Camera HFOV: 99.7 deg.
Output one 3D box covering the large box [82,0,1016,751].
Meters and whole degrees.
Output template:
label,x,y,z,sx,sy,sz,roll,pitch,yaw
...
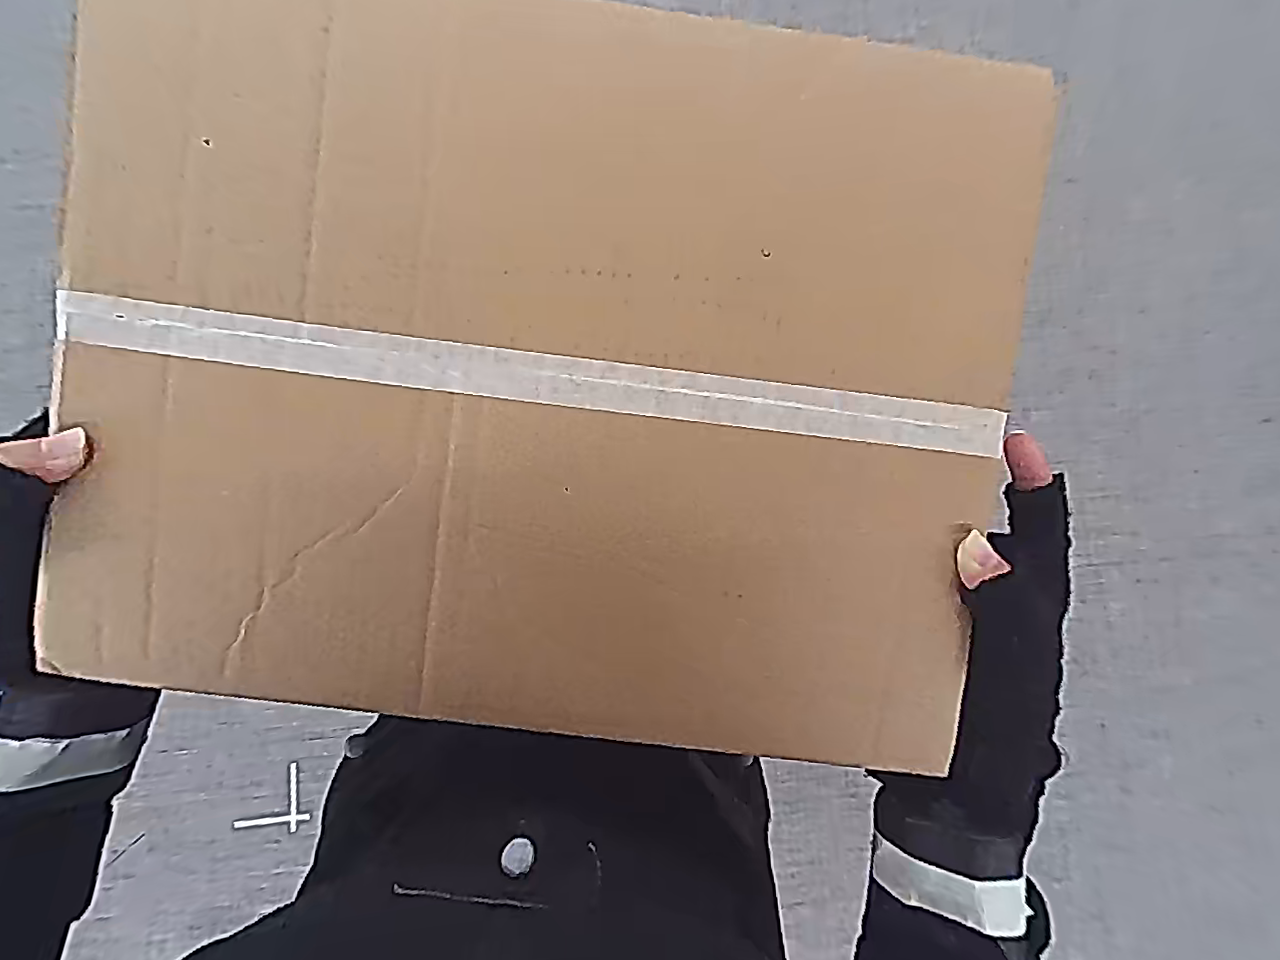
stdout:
label,x,y,z,sx,sy,sz,roll,pitch,yaw
large box,-0.045,-0.050,0.395,0.408,0.320,0.320,7,93,-2
